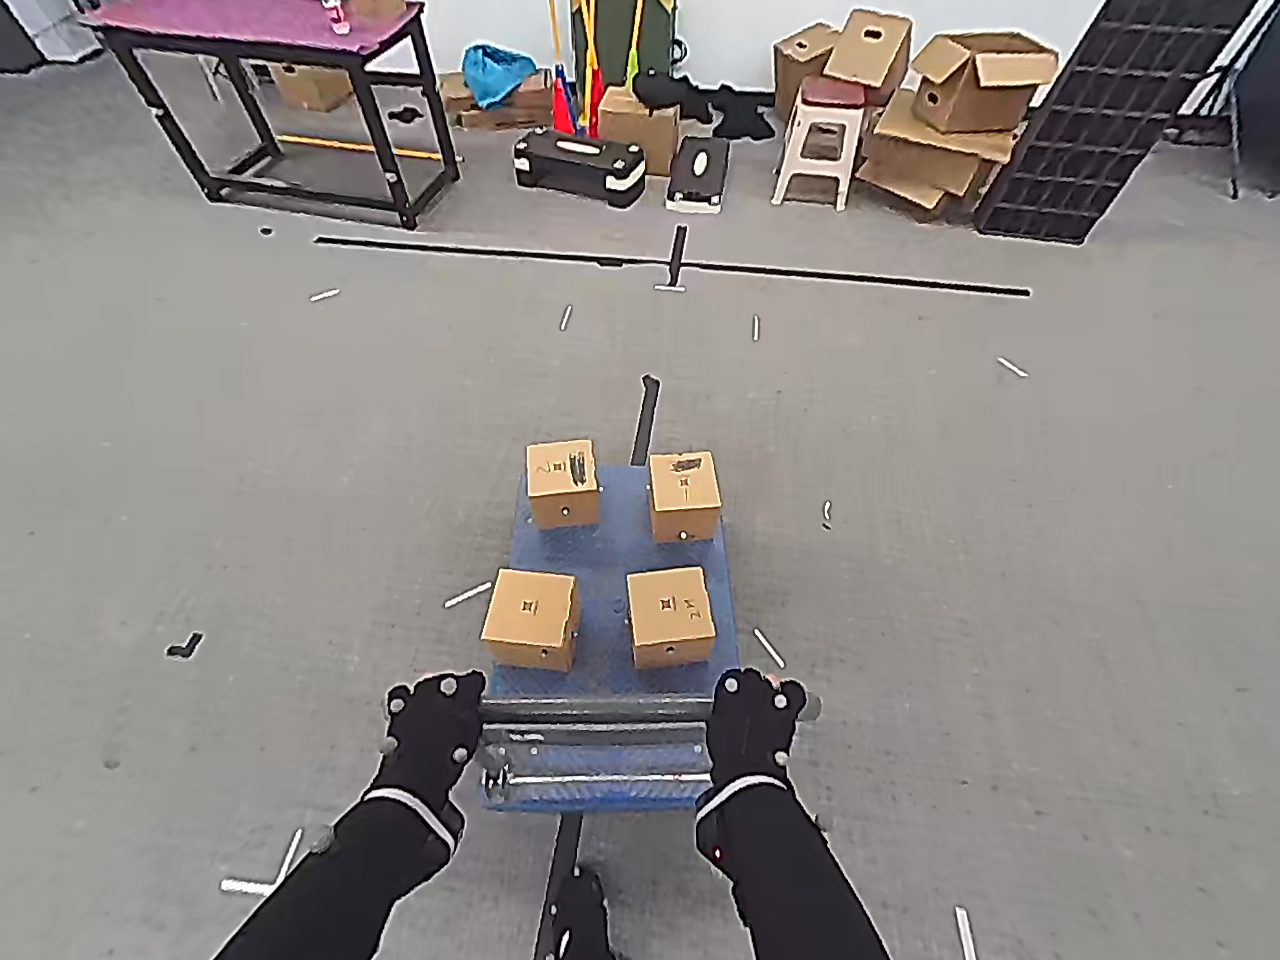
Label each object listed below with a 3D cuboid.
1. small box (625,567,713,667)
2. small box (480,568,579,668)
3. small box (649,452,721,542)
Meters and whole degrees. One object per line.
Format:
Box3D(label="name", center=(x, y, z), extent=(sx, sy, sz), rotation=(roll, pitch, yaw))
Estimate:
Box3D(label="small box", center=(0.062, 0.318, 1.240), extent=(0.179, 0.176, 0.168), rotation=(-5, 55, -4))
Box3D(label="small box", center=(-0.243, 0.320, 1.238), extent=(0.179, 0.176, 0.168), rotation=(6, 54, 2))
Box3D(label="small box", center=(0.111, 0.047, 1.435), extent=(0.168, 0.176, 0.179), rotation=(-3, 56, -3))
